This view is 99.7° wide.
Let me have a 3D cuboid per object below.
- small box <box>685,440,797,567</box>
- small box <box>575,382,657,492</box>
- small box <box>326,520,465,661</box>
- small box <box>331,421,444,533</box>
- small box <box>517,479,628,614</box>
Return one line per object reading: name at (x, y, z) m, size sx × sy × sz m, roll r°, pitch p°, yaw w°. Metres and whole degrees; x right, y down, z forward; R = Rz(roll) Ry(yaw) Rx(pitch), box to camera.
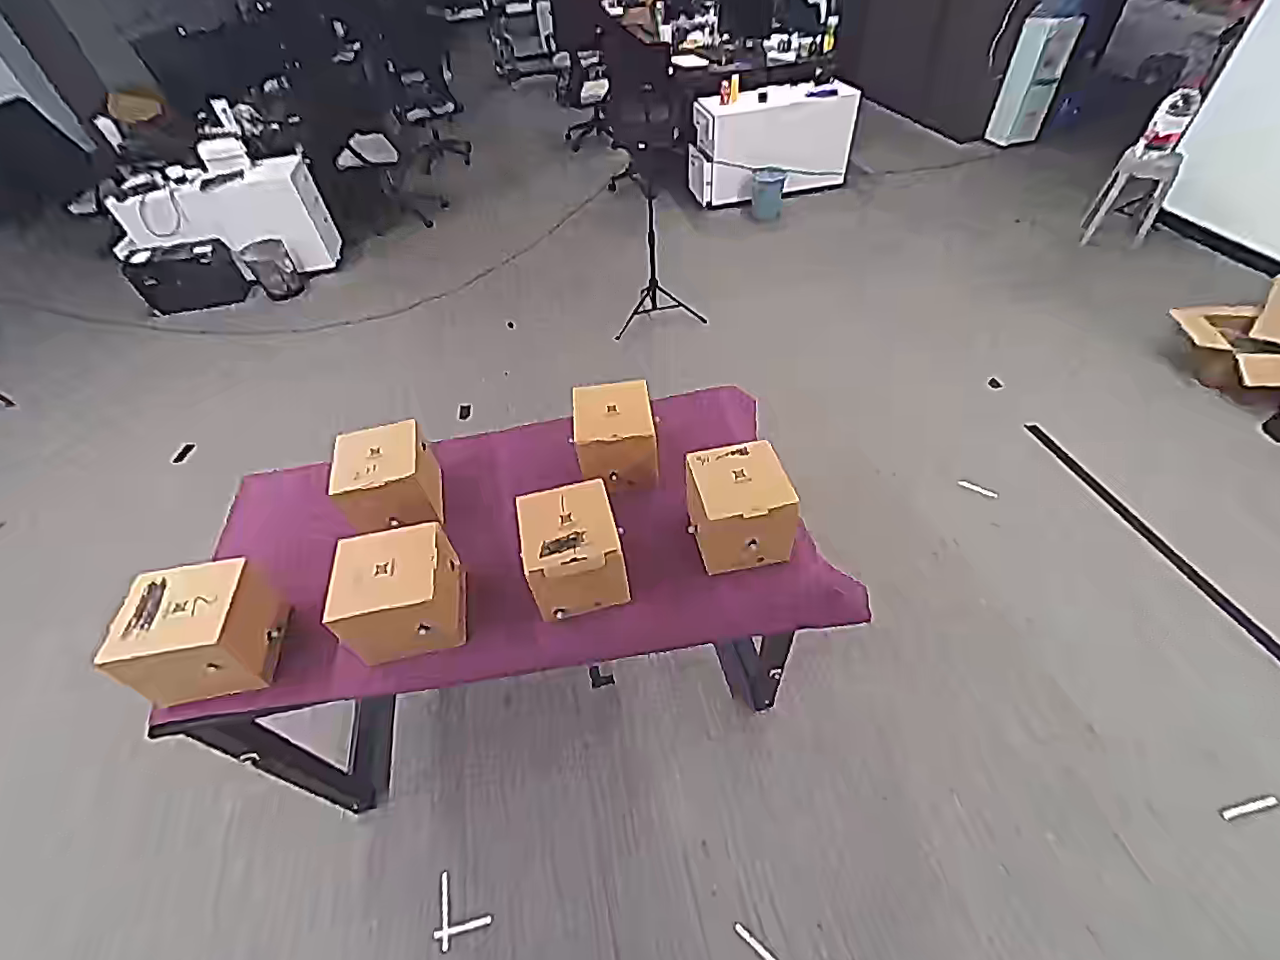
small box at (0.188, 0.052, 1.044) m, size 0.168 × 0.176 × 0.179 m, roll -10°, pitch 46°, yaw -3°
small box at (-0.053, -0.093, 1.205) m, size 0.168 × 0.176 × 0.179 m, roll -7°, pitch 49°, yaw -1°
small box at (-0.421, 0.200, 0.967) m, size 0.179 × 0.176 × 0.168 m, roll -11°, pitch 48°, yaw -5°
small box at (-0.529, 0.004, 1.158) m, size 0.168 × 0.176 × 0.179 m, roll -14°, pitch 49°, yaw -8°
small box at (-0.123, 0.129, 1.005) m, size 0.168 × 0.176 × 0.179 m, roll -13°, pitch 47°, yaw -6°
